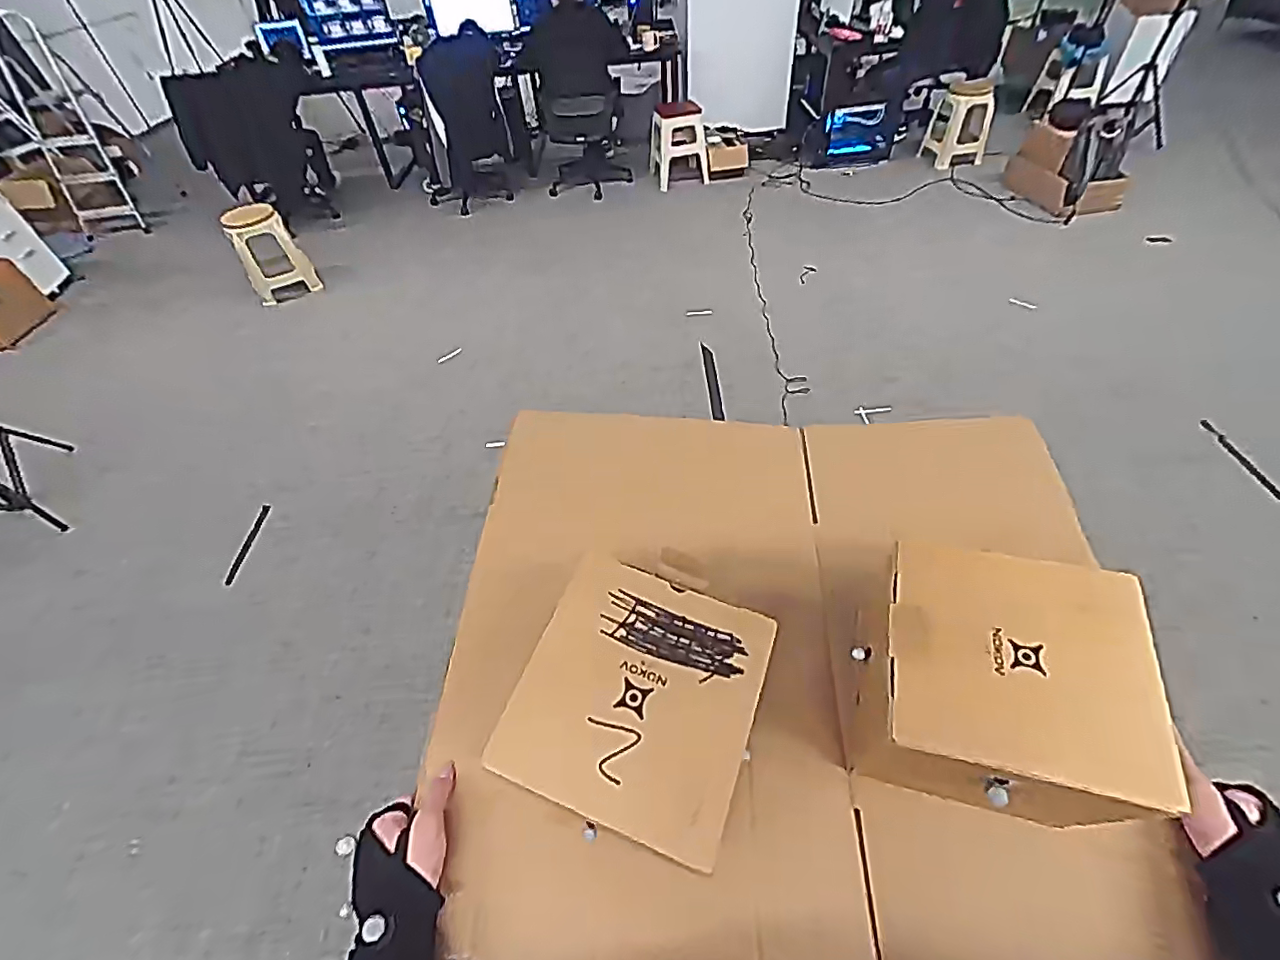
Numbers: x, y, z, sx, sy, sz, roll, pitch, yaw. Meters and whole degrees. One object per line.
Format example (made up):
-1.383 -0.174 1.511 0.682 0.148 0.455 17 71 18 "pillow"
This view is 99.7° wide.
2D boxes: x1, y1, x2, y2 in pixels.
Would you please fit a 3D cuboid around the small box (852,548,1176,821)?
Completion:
0.297 0.182 0.475 0.179 0.176 0.168 8 58 17 "small box"
